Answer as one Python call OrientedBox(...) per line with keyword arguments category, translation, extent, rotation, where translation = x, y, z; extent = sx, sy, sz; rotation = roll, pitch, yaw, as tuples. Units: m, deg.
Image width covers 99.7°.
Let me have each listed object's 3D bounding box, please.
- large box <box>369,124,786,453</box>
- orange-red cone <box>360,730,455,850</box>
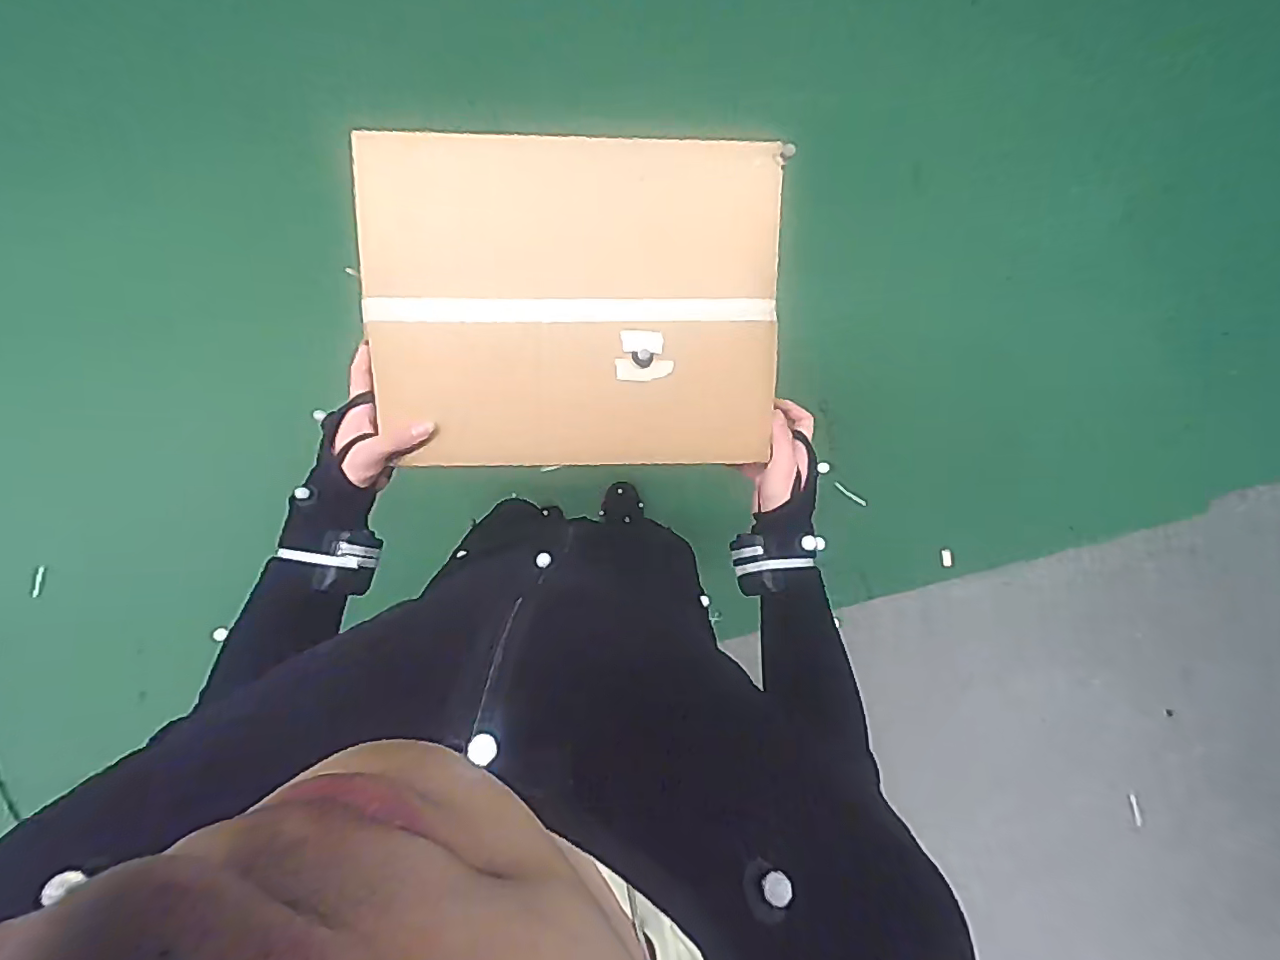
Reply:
OrientedBox(category="large box", translation=(-0.066, -0.210, 0.687), extent=(0.408, 0.320, 0.320), rotation=(0, 101, -4))
OrientedBox(category="orange-red cone", translation=(-0.651, 0.853, 1.444), extent=(0.199, 0.360, 0.198), rotation=(-7, 90, -2))
